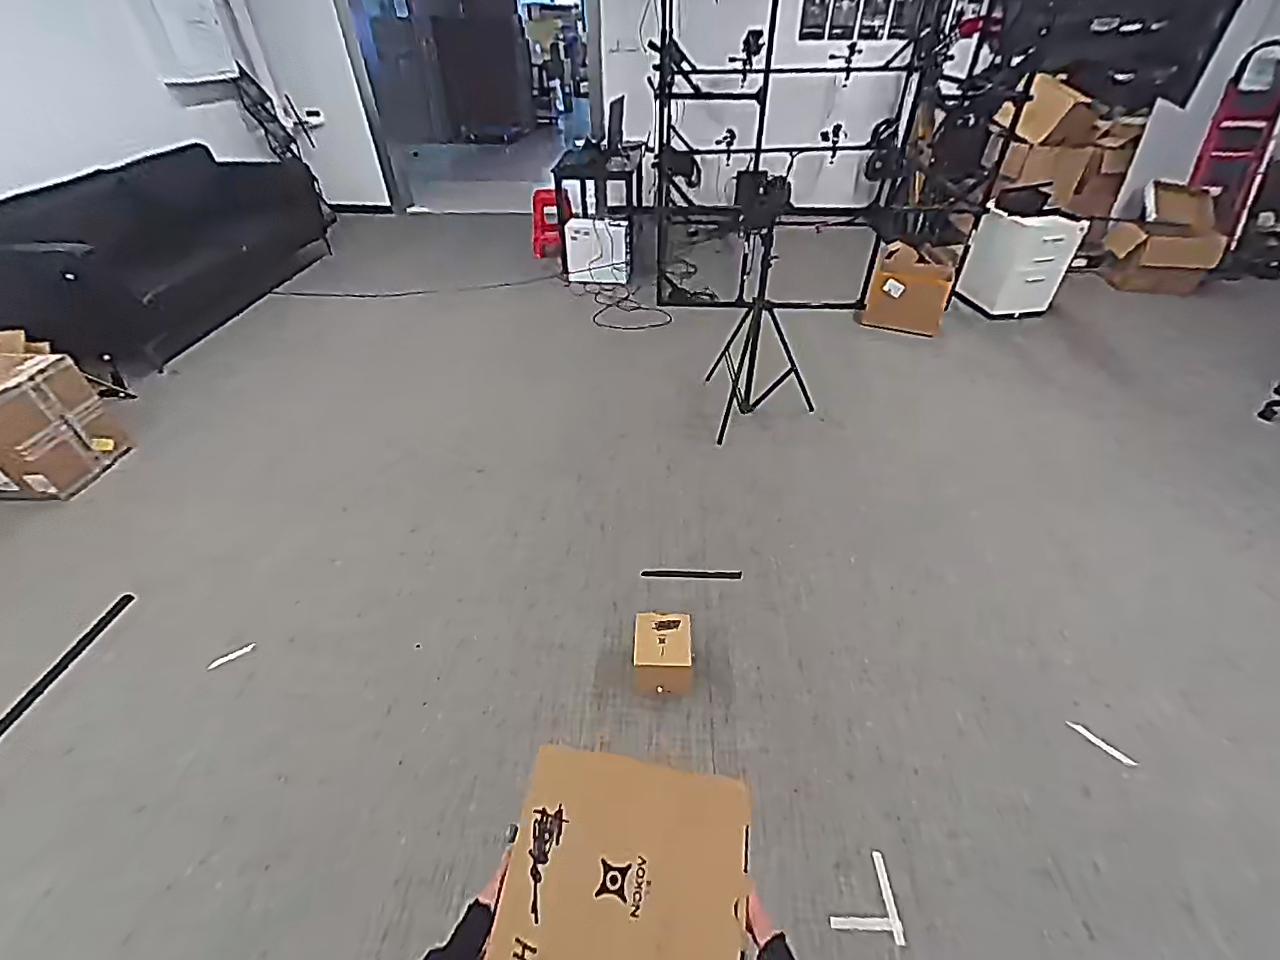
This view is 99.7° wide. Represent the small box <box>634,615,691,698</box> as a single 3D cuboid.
[{"bbox_3d":[0.067,0.530,1.629,0.168,0.176,0.179,1,41,3],"label":"small box"}]

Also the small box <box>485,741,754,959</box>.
[{"bbox_3d":[-0.011,0.341,0.449,0.179,0.176,0.168,9,49,5],"label":"small box"}]
